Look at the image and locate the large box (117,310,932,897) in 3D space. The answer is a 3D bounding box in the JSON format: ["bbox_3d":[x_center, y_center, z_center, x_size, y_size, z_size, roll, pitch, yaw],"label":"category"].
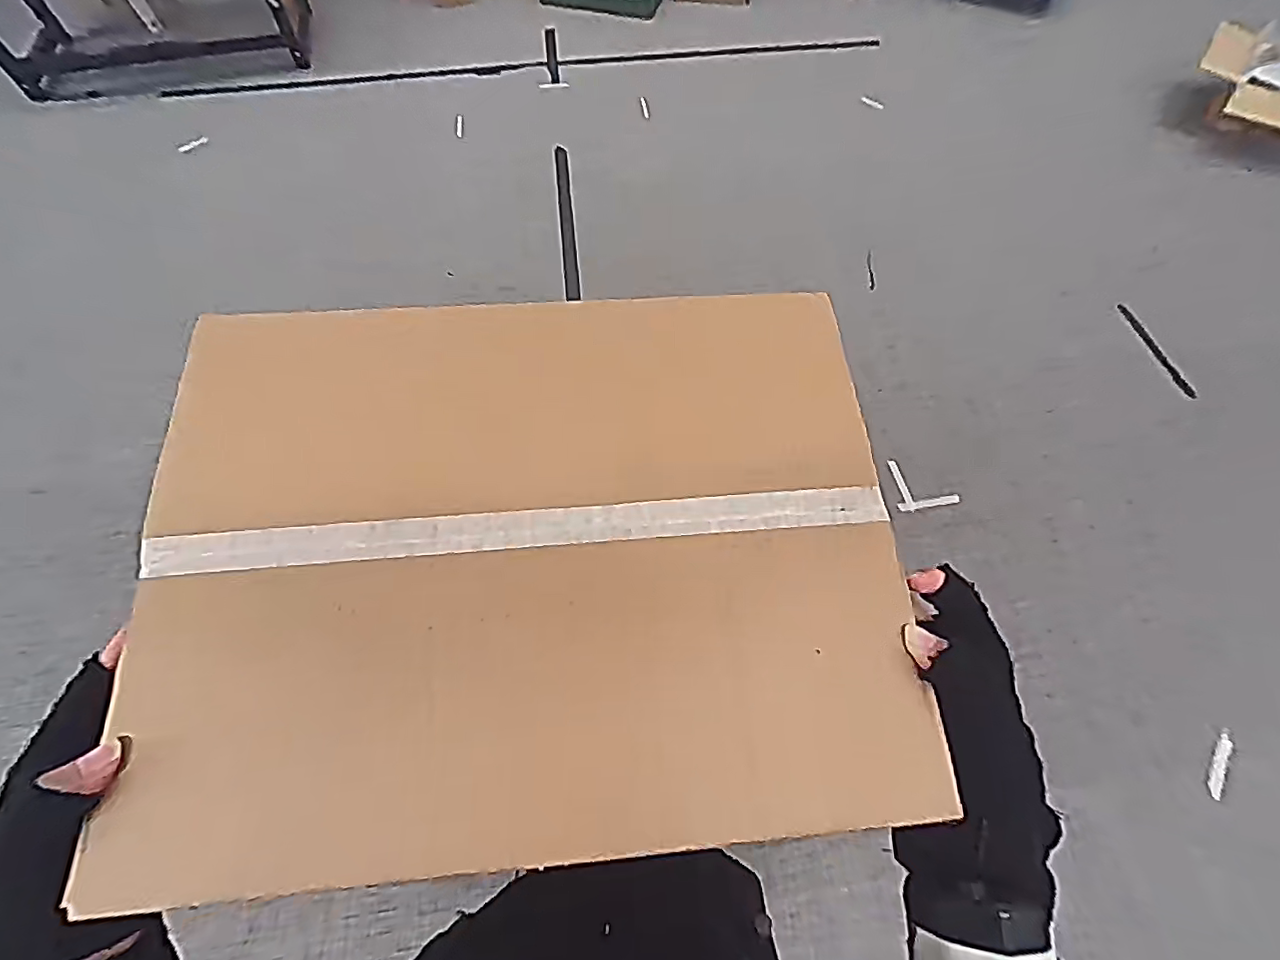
[{"bbox_3d":[-0.066,0.089,0.453,0.408,0.320,0.320,-4,70,-4],"label":"large box"}]
